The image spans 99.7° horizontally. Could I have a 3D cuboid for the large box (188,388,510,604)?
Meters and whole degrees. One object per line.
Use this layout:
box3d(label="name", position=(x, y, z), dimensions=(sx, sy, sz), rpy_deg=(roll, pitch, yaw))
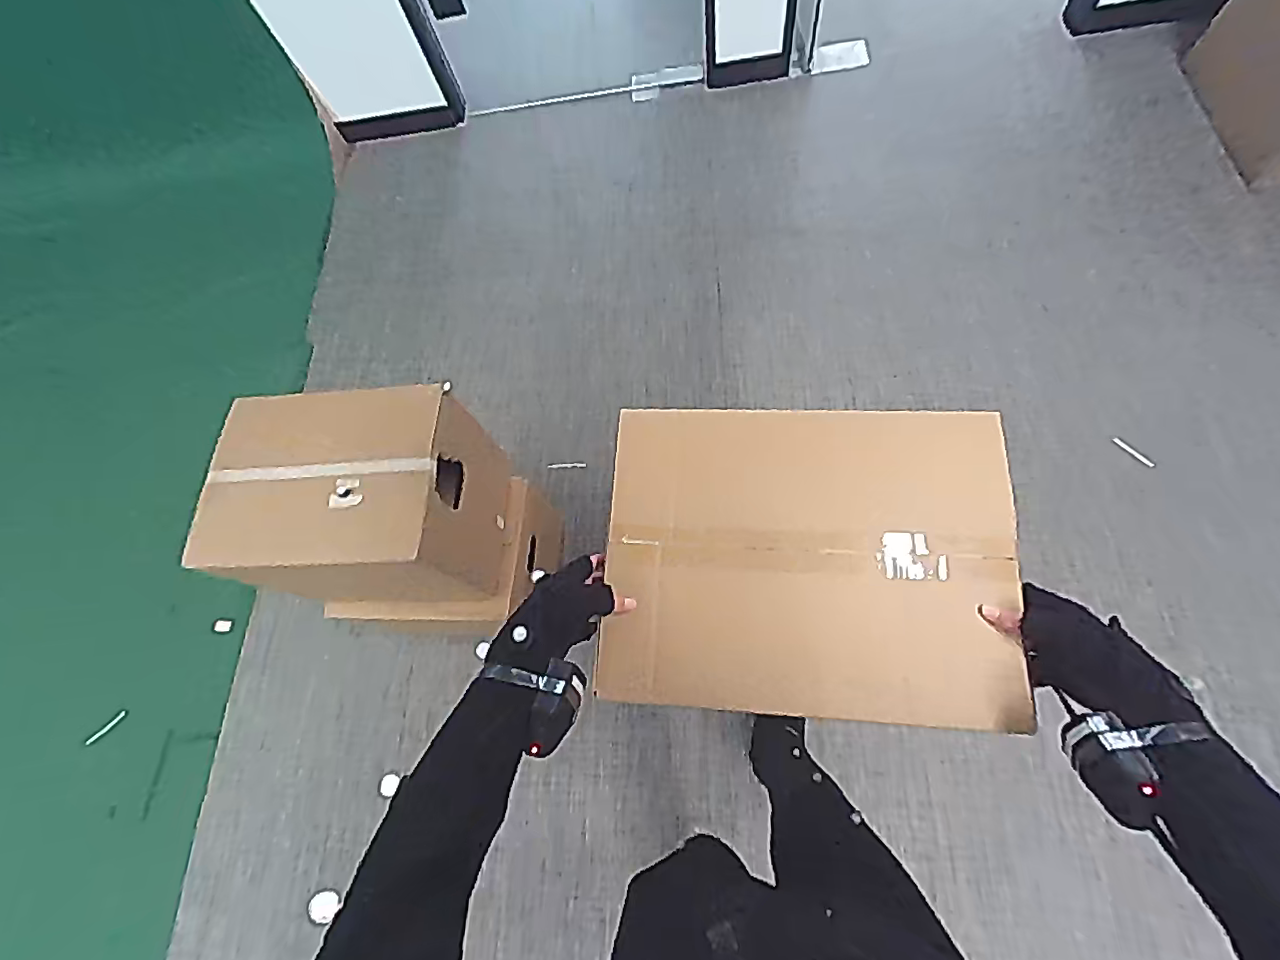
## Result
box3d(label="large box", position=(-0.505, 0.050, 1.031), dimensions=(0.408, 0.320, 0.320), rpy_deg=(-2, 67, 7))
